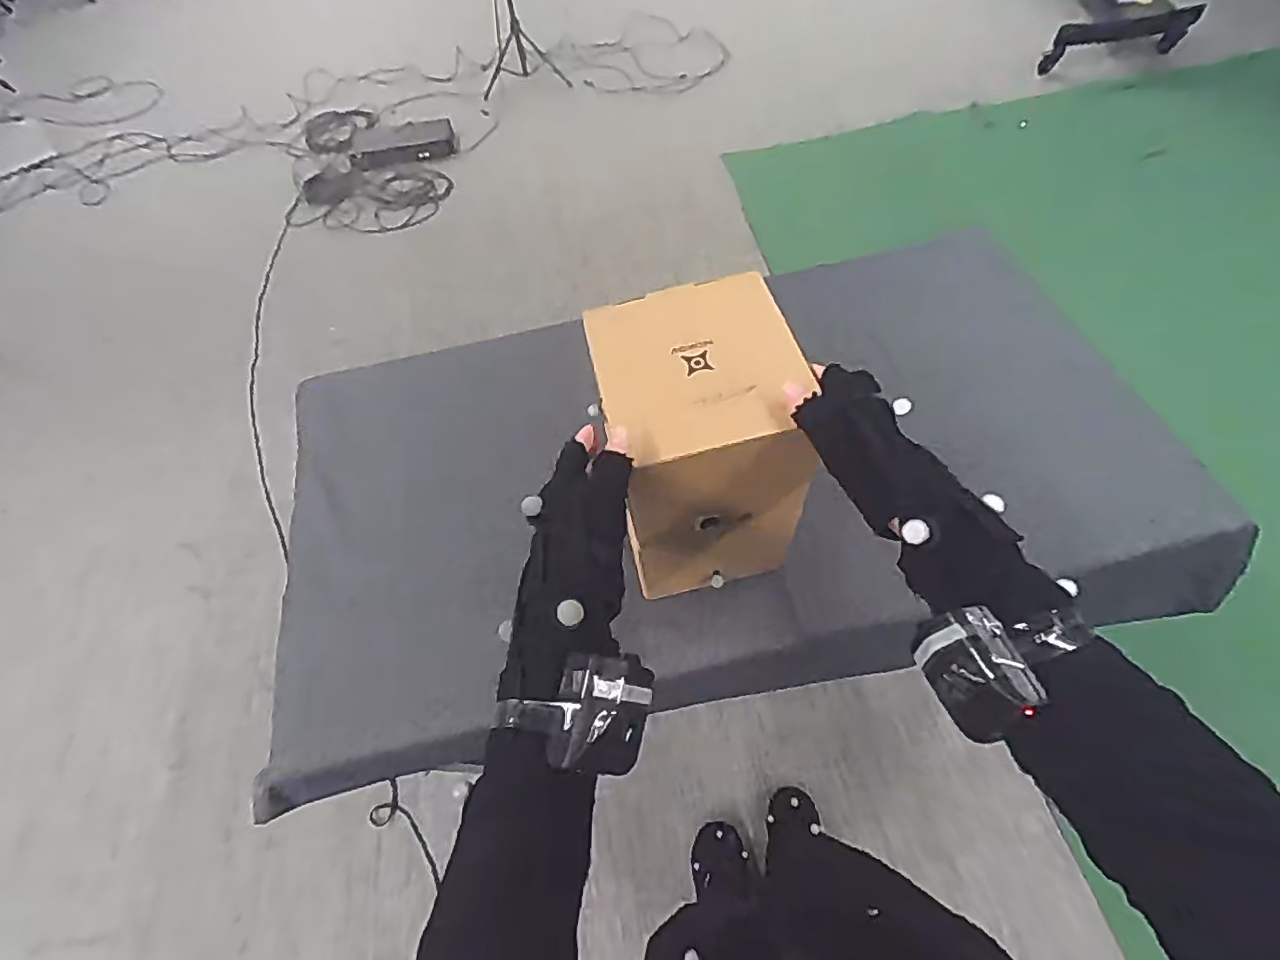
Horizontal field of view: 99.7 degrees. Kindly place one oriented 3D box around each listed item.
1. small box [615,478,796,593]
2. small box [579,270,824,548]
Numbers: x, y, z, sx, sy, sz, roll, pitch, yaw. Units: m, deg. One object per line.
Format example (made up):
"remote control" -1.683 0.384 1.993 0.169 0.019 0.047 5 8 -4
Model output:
"small box" 0.065 0.020 0.652 0.179 0.176 0.168 -13 60 -2
"small box" 0.049 -0.059 0.511 0.168 0.176 0.179 -15 61 0
